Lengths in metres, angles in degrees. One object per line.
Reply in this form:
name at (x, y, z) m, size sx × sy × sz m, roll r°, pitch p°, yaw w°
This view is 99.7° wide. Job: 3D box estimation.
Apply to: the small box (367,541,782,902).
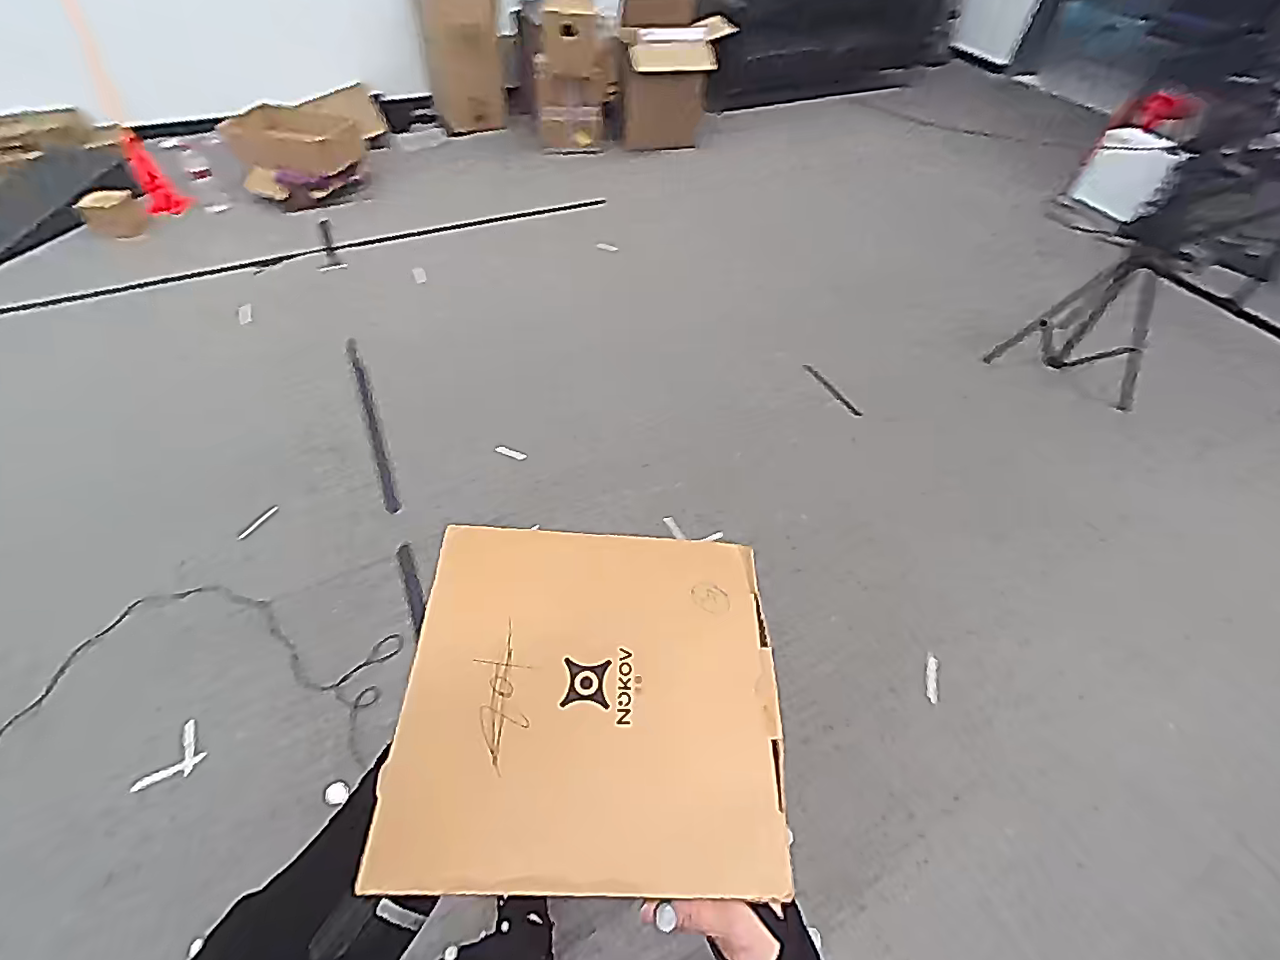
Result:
small box at (-0.033, 0.152, 0.334) m, size 0.179 × 0.176 × 0.168 m, roll 2°, pitch 54°, yaw -5°
